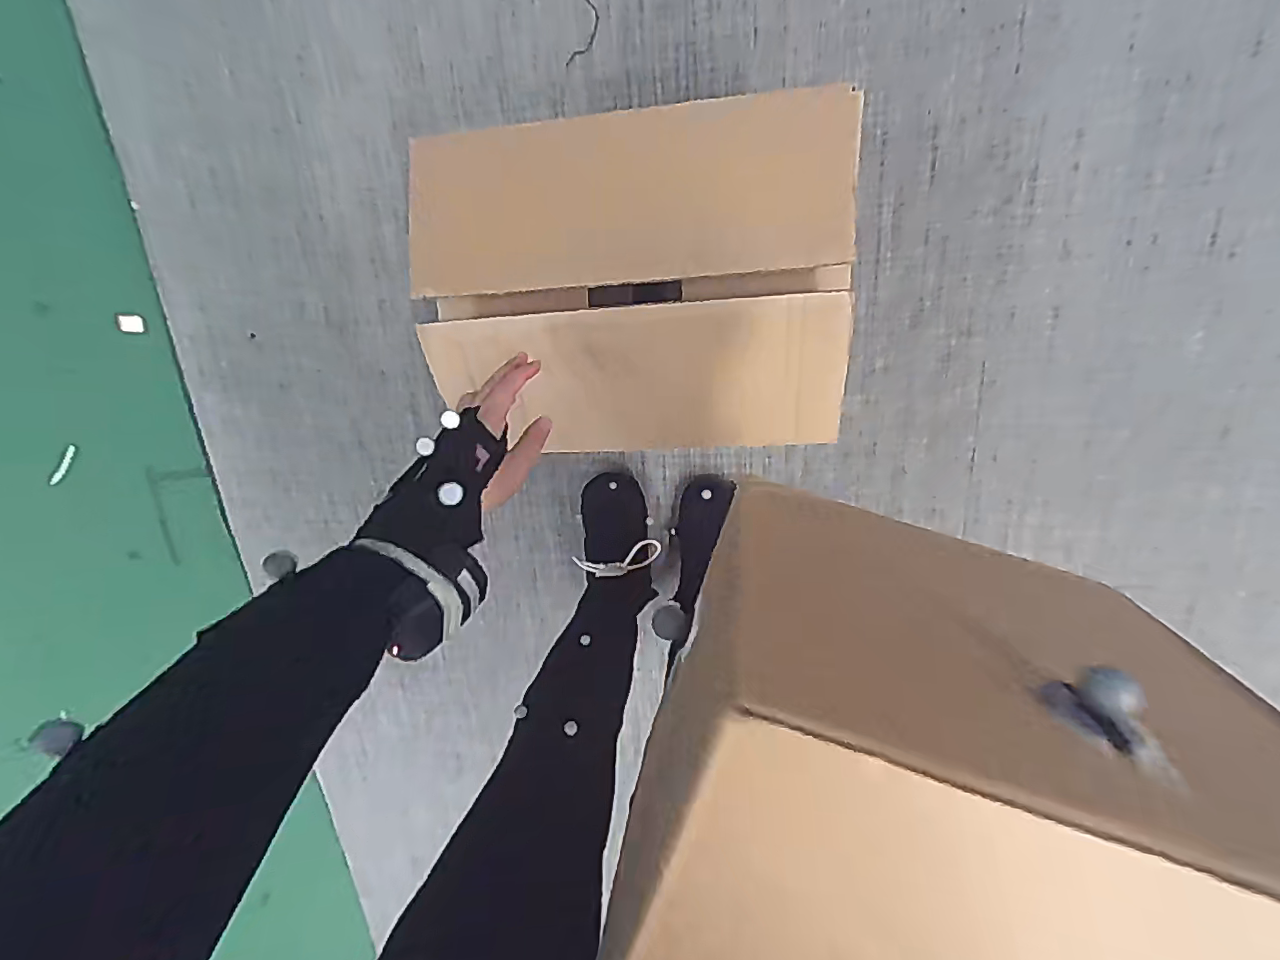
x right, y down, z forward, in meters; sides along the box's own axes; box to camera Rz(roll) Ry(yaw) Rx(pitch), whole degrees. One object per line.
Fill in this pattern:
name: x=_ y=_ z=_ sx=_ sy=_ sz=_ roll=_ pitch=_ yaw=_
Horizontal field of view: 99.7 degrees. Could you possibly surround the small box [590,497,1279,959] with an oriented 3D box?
small box: x=0.092 y=0.122 z=0.210 sx=0.179 sy=0.176 sz=0.168 roll=18 pitch=108 yaw=6
